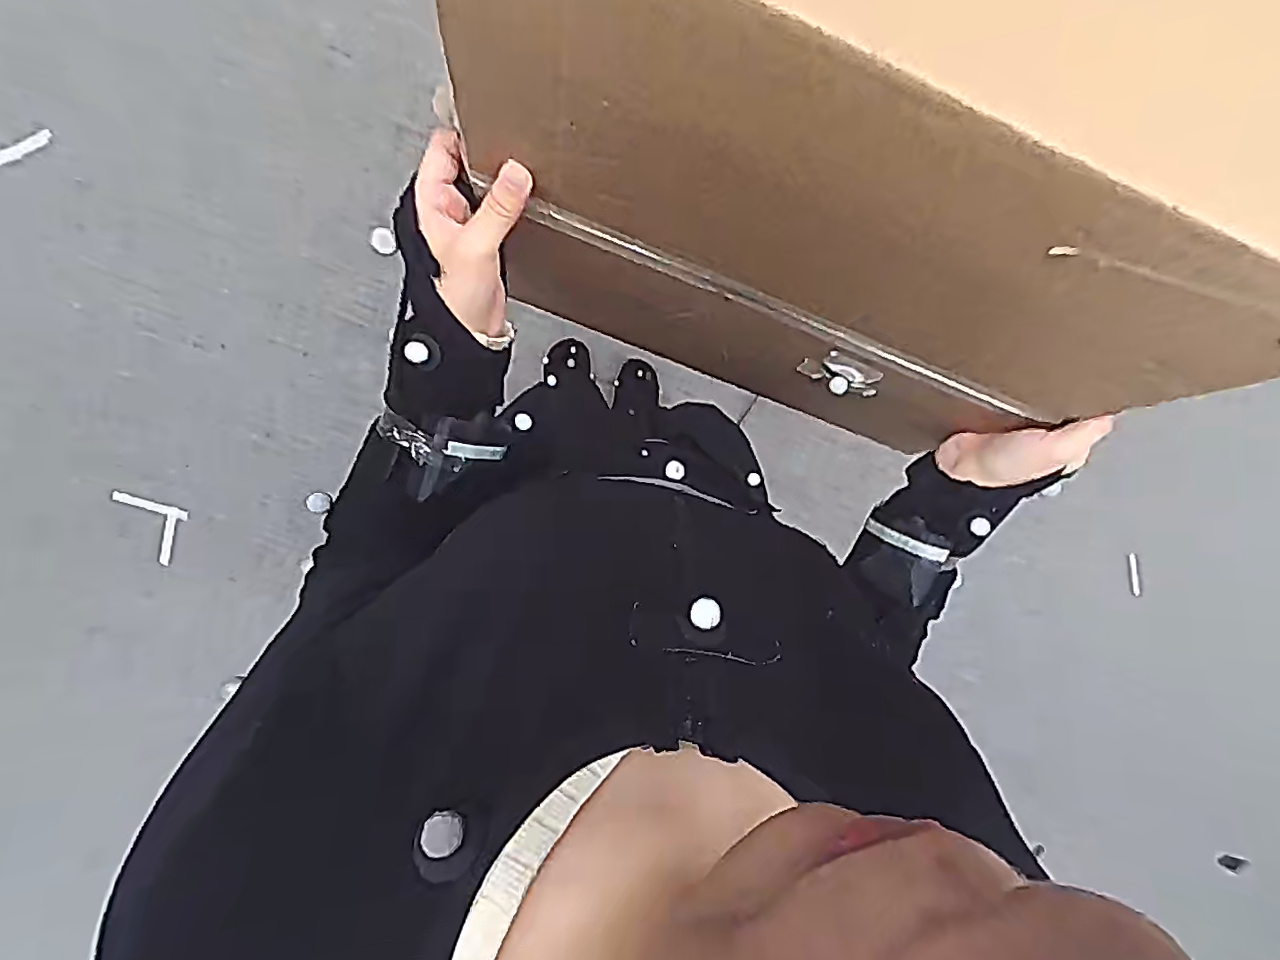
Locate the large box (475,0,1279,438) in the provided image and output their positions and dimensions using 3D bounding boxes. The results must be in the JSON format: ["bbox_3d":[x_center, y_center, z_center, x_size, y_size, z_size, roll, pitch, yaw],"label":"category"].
[{"bbox_3d":[0.152,-0.258,0.331,0.408,0.320,0.320,19,82,-8],"label":"large box"}]
